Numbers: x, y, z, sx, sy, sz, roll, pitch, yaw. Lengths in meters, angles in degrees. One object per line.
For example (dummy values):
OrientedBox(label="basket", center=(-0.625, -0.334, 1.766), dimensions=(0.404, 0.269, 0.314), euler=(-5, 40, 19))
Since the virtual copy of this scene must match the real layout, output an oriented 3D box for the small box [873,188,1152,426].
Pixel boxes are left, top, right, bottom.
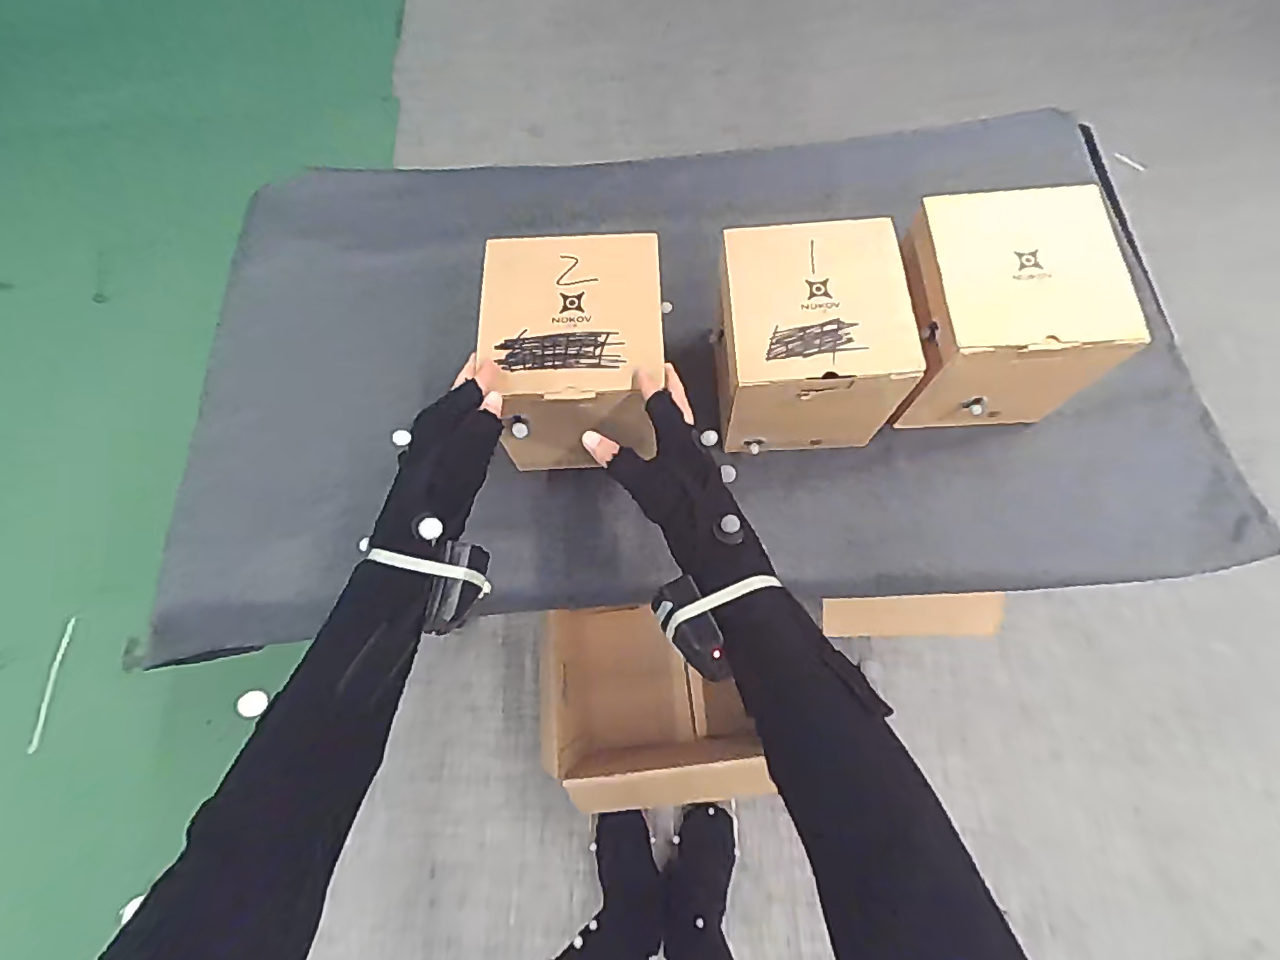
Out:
OrientedBox(label="small box", center=(0.366, -0.172, 0.575), dimensions=(0.168, 0.176, 0.179), euler=(-3, 72, 3))
